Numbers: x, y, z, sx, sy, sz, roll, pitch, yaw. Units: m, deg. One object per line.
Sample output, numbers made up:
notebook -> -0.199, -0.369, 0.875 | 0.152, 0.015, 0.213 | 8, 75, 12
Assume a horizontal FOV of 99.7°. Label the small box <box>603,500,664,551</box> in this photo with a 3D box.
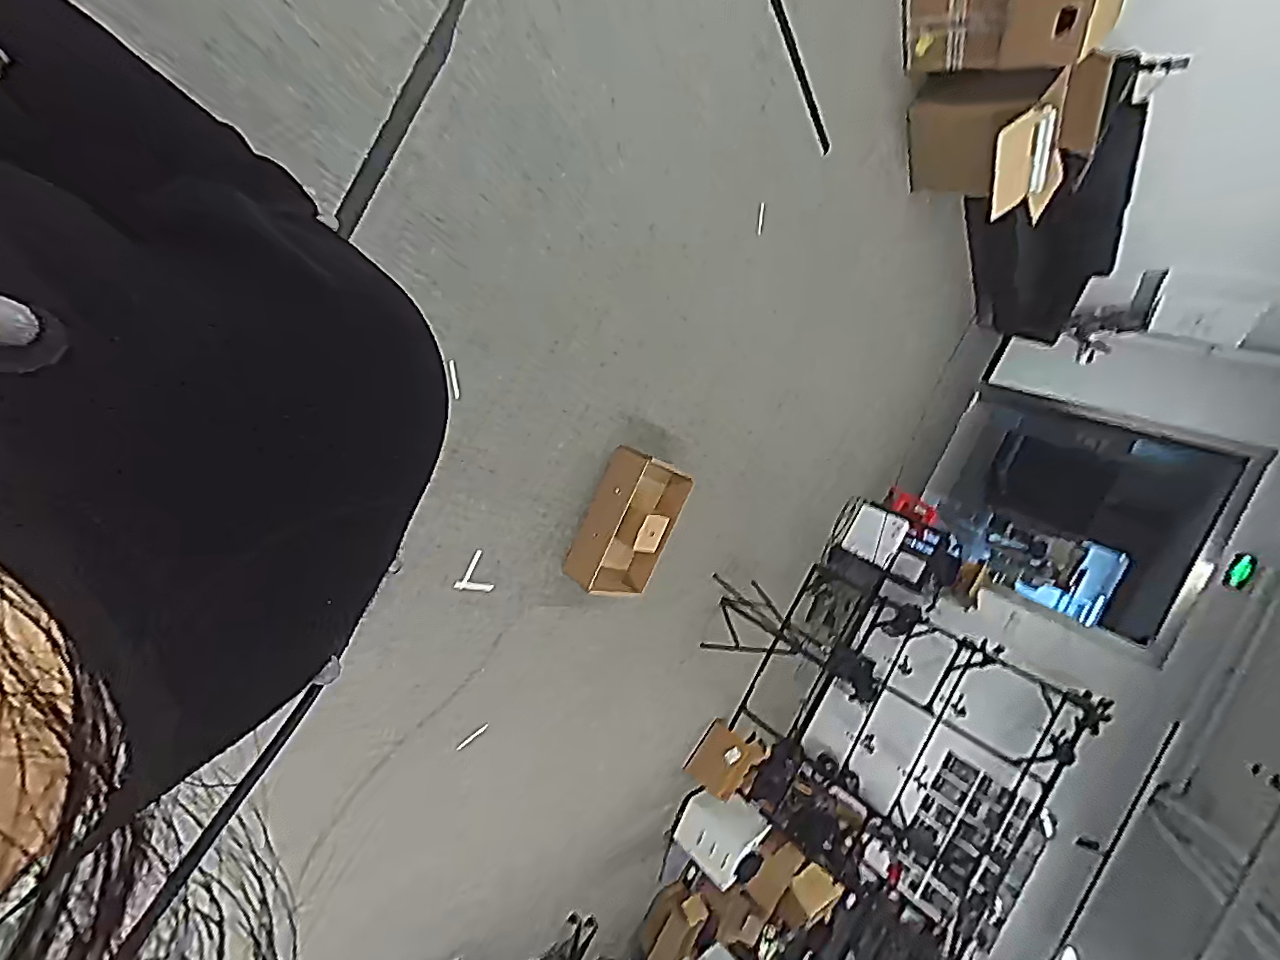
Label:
small box -> -0.032, 0.199, 2.395 | 0.179, 0.176, 0.168 | 16, 98, -53
